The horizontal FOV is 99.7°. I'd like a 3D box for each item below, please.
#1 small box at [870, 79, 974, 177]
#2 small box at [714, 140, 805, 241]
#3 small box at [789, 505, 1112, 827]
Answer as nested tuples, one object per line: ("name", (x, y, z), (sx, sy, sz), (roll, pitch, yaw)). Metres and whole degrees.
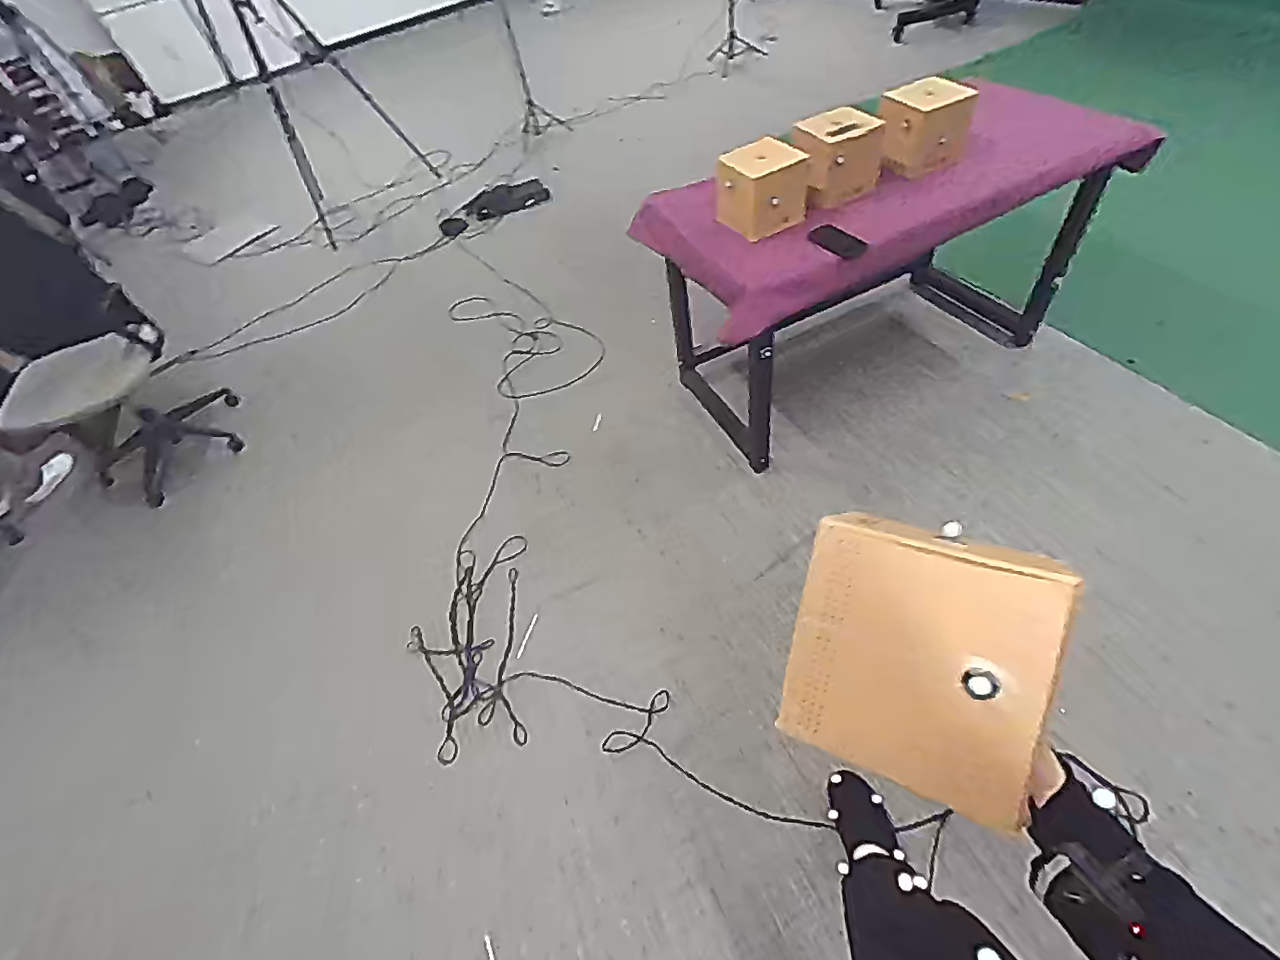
("small box", (0.765, -0.962, 1.488), (0.168, 0.176, 0.179), (-22, 51, -6))
("small box", (0.313, -0.756, 1.424), (0.168, 0.176, 0.179), (-27, 51, -10))
("small box", (0.234, 0.121, 0.439), (0.176, 0.168, 0.179), (16, 95, 30))
